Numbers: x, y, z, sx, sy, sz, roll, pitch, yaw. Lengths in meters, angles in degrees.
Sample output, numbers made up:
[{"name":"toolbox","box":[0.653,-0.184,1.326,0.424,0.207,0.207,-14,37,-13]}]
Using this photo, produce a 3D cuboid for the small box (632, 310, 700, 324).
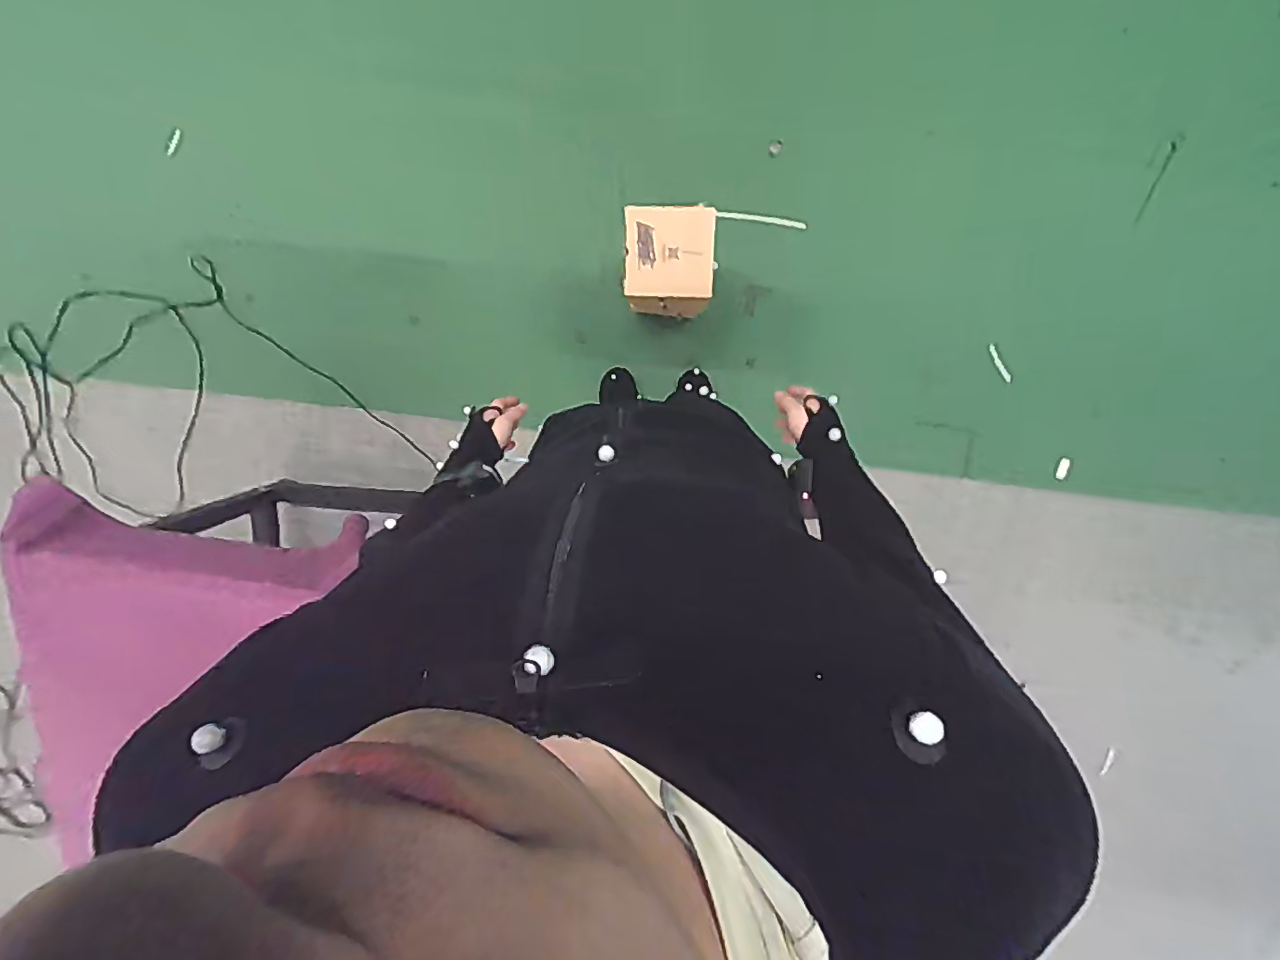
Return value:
[{"name":"small box","box":[0.079,-0.513,1.447,0.179,0.176,0.168,7,103,2]}]

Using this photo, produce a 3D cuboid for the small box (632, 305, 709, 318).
[{"name":"small box","box":[0.077,-0.479,1.287,0.179,0.176,0.168,4,103,3]}]

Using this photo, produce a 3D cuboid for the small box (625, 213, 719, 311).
[{"name":"small box","box":[0.065,-0.446,1.127,0.179,0.176,0.168,3,103,2]}]
